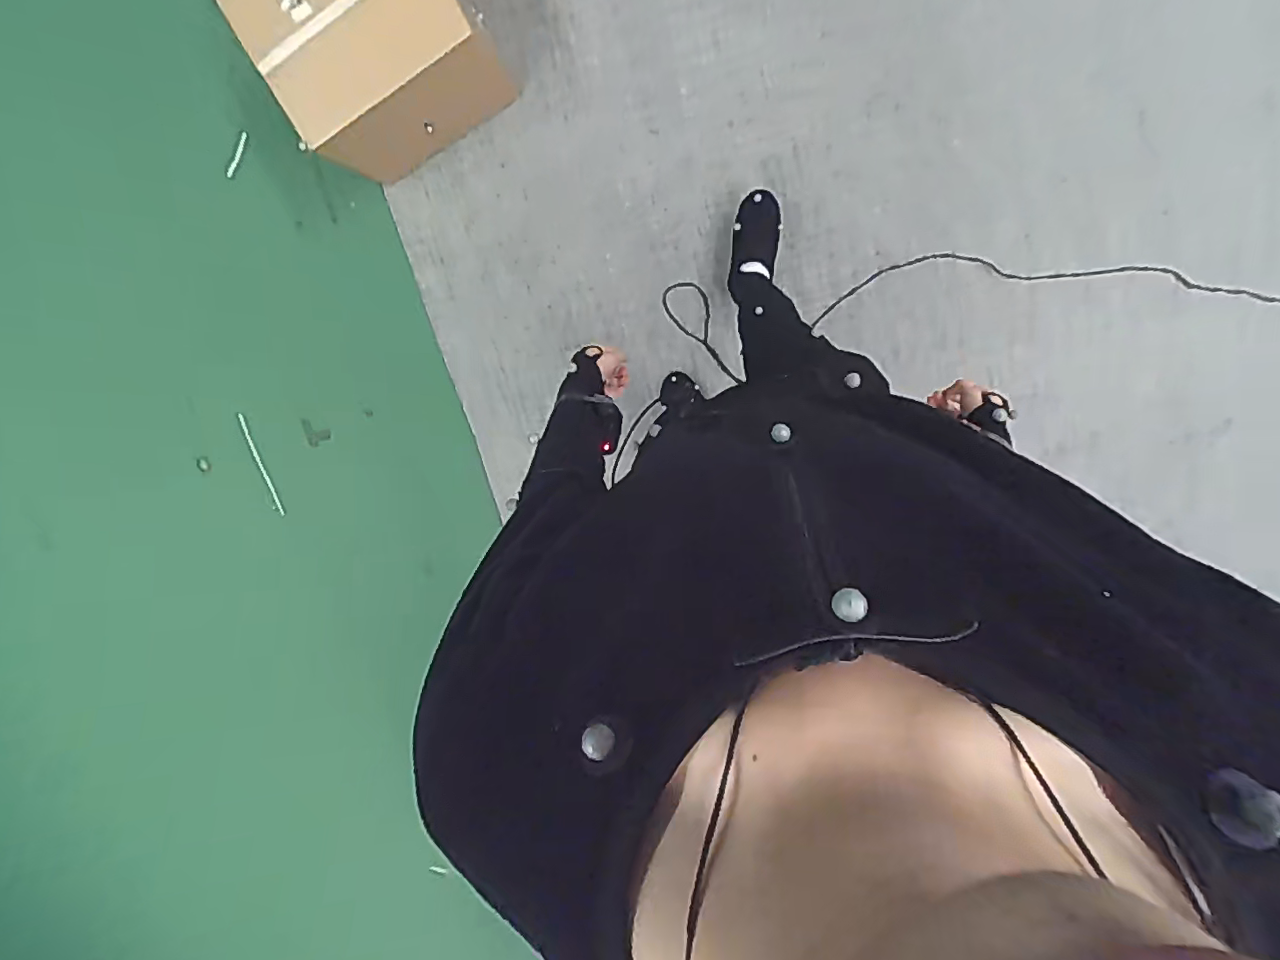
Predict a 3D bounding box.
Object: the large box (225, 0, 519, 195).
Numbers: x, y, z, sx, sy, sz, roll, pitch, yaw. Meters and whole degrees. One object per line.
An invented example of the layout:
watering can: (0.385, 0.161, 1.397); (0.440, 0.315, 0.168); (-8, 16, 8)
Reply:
large box: (-0.539, -0.896, 1.164); (0.408, 0.320, 0.320); (-26, 101, 12)
